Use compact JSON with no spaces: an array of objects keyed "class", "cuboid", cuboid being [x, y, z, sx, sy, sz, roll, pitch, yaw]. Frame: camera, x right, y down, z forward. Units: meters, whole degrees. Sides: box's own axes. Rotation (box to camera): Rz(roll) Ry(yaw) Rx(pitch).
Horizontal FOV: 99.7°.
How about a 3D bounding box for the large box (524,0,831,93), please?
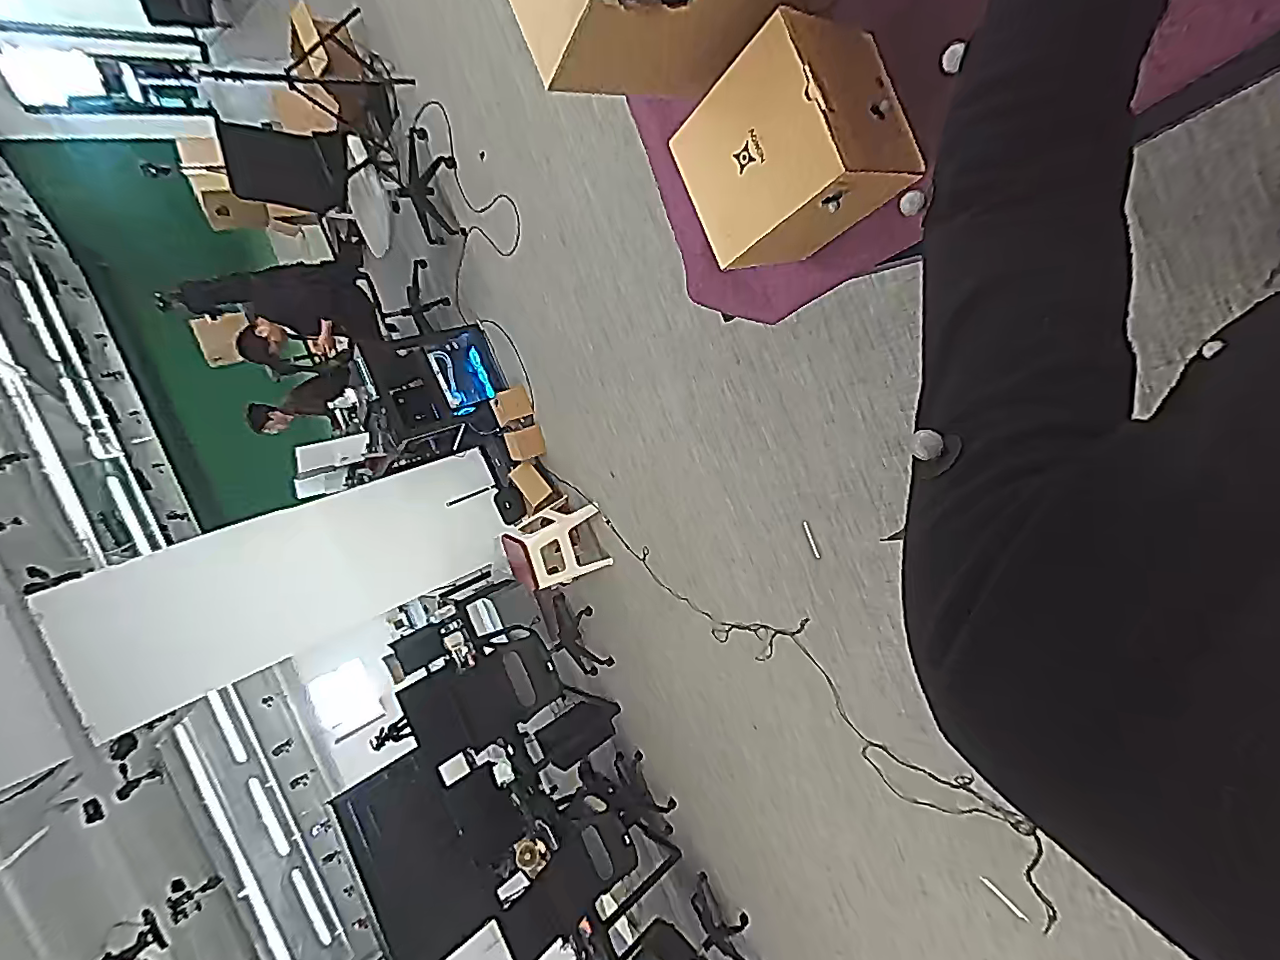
[{"class":"large box","cuboid":[0.029,-0.669,0.512,0.320,0.320,0.408,-18,98,58]}]
